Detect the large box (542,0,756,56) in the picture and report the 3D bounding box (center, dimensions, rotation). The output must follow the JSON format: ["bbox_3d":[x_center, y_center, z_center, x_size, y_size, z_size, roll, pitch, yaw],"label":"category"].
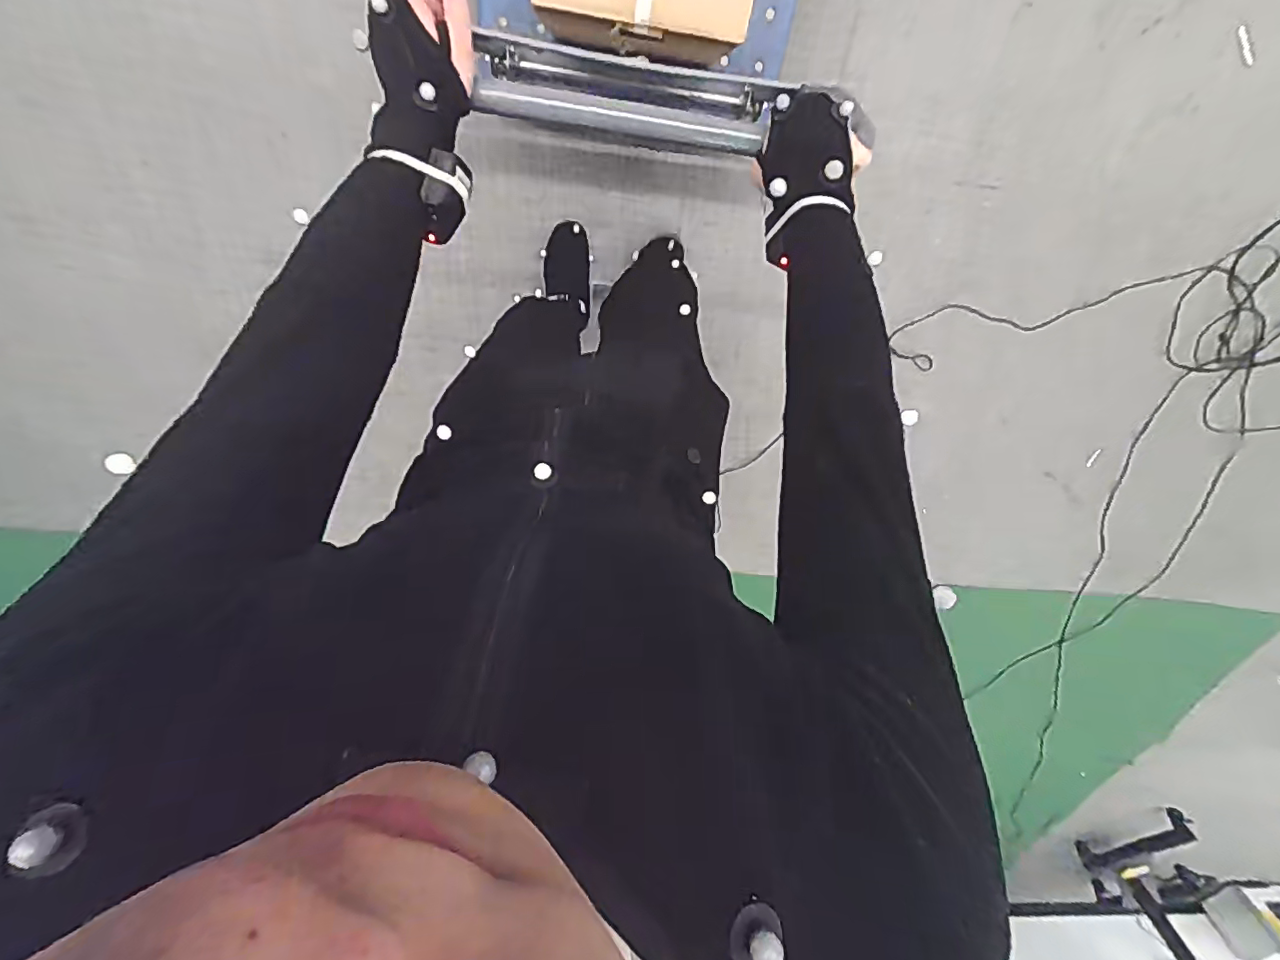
[{"bbox_3d":[0.026,-0.905,0.789,0.320,0.320,0.408,5,122,-6],"label":"large box"}]
